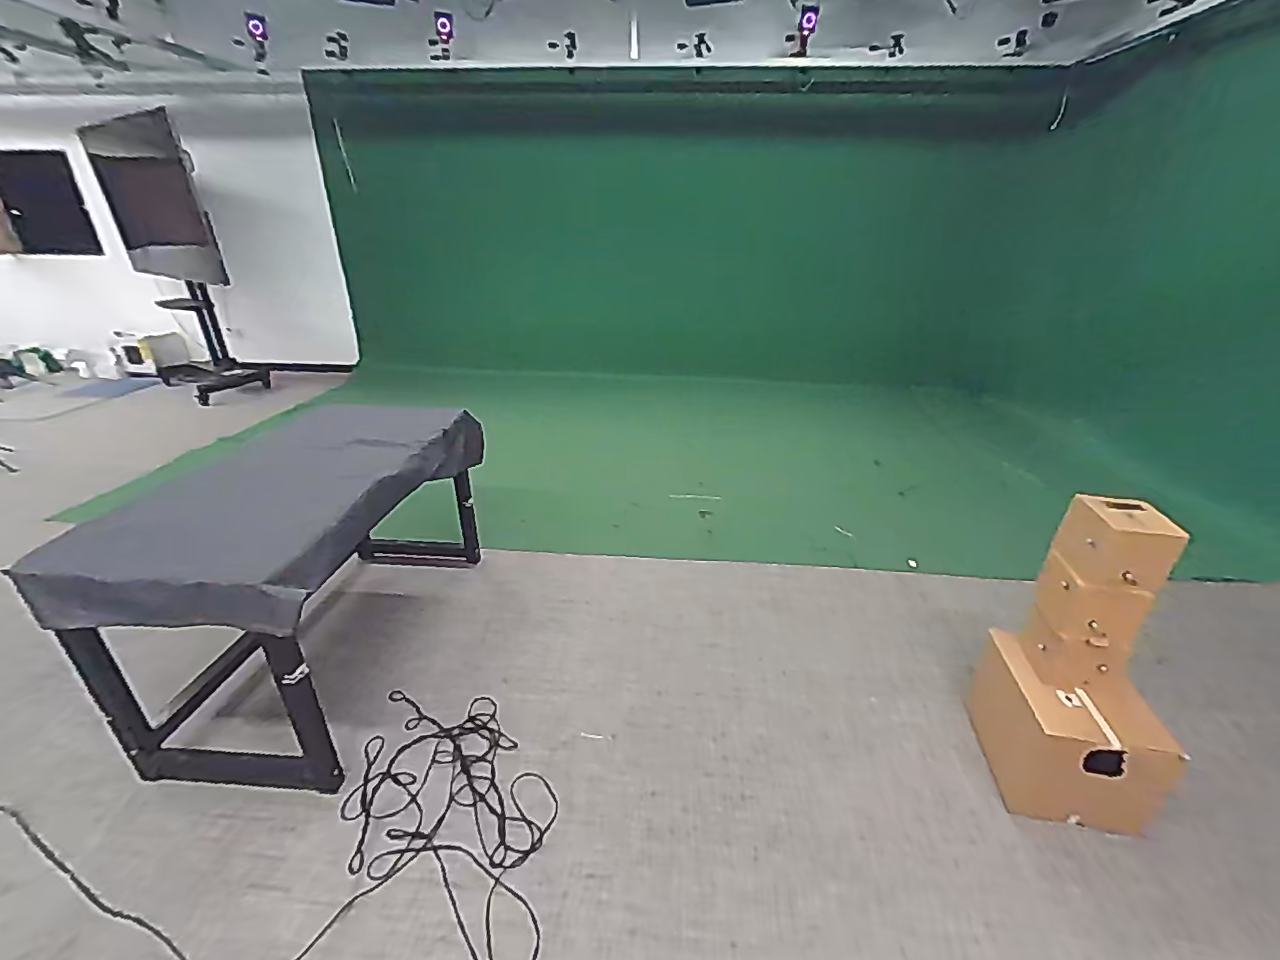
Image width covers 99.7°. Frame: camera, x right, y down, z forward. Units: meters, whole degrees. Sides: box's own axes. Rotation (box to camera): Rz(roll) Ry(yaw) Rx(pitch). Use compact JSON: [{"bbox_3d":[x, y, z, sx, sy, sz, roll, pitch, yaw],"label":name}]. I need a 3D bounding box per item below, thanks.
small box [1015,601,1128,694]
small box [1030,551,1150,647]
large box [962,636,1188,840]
[{"bbox_3d":[1.194,0.467,1.511,0.168,0.176,0.179,6,25,9],"label":"small box"},{"bbox_3d":[1.190,0.317,1.449,0.168,0.176,0.179,7,27,11],"label":"small box"},{"bbox_3d":[1.192,0.716,1.551,0.320,0.320,0.408,4,26,10],"label":"large box"}]
